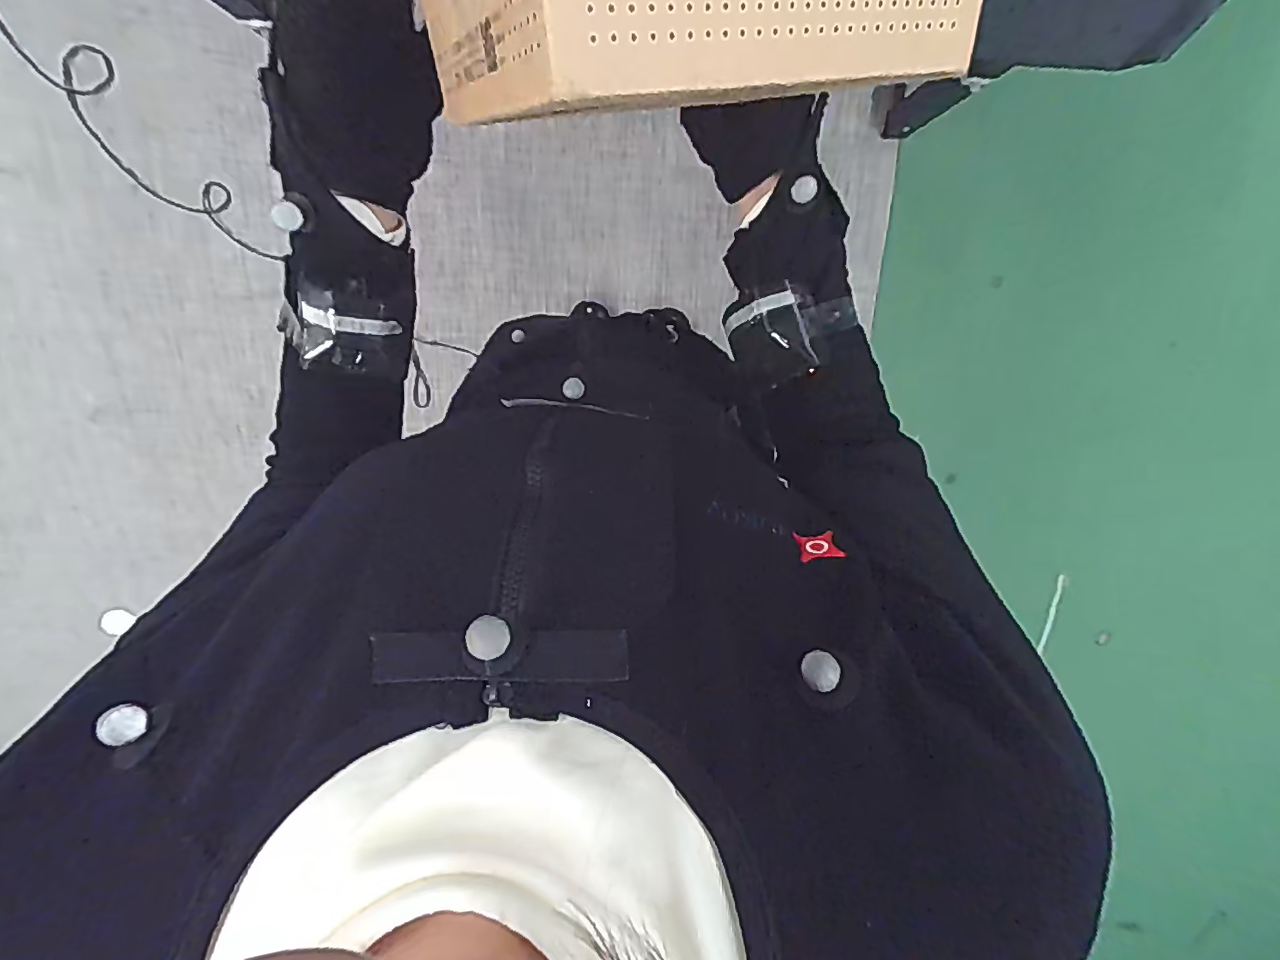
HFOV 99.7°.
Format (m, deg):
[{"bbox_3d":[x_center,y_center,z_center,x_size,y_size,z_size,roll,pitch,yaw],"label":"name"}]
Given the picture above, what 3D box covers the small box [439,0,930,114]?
[{"bbox_3d":[0.009,-0.250,0.211,0.179,0.168,0.176,-20,125,-20],"label":"small box"}]
